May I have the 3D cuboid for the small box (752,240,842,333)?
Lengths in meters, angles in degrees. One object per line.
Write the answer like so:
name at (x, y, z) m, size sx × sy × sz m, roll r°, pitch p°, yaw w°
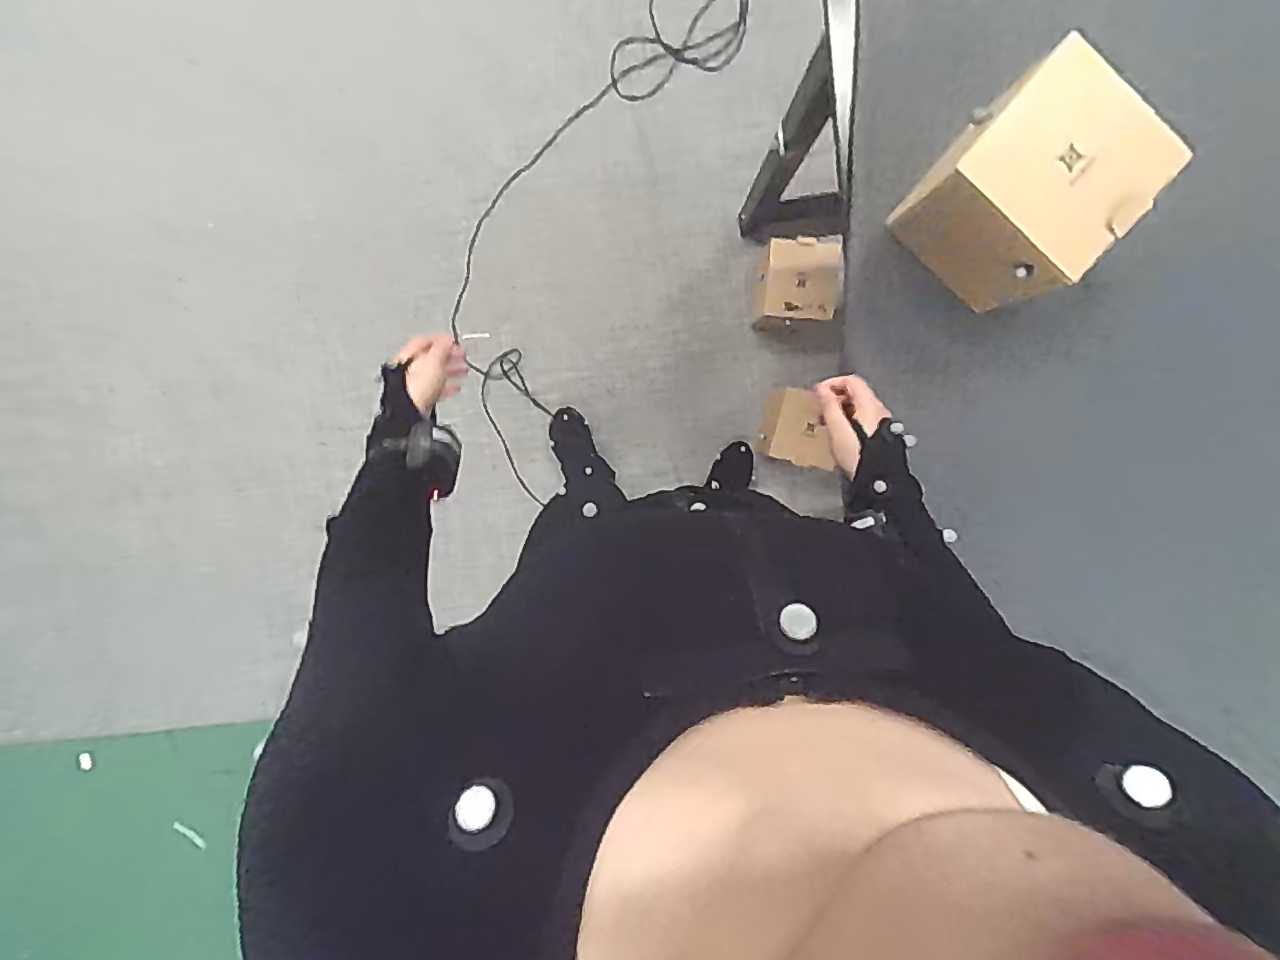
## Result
small box at (0.380, -0.470, 1.335) m, size 0.168 × 0.176 × 0.179 m, roll 5°, pitch 97°, yaw 0°

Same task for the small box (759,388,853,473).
small box at (0.411, -0.127, 1.373) m, size 0.168 × 0.176 × 0.179 m, roll 13°, pitch 95°, yaw -1°

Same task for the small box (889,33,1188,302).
small box at (0.428, -0.330, 0.618) m, size 0.179 × 0.176 × 0.168 m, roll 40°, pitch 95°, yaw -4°
